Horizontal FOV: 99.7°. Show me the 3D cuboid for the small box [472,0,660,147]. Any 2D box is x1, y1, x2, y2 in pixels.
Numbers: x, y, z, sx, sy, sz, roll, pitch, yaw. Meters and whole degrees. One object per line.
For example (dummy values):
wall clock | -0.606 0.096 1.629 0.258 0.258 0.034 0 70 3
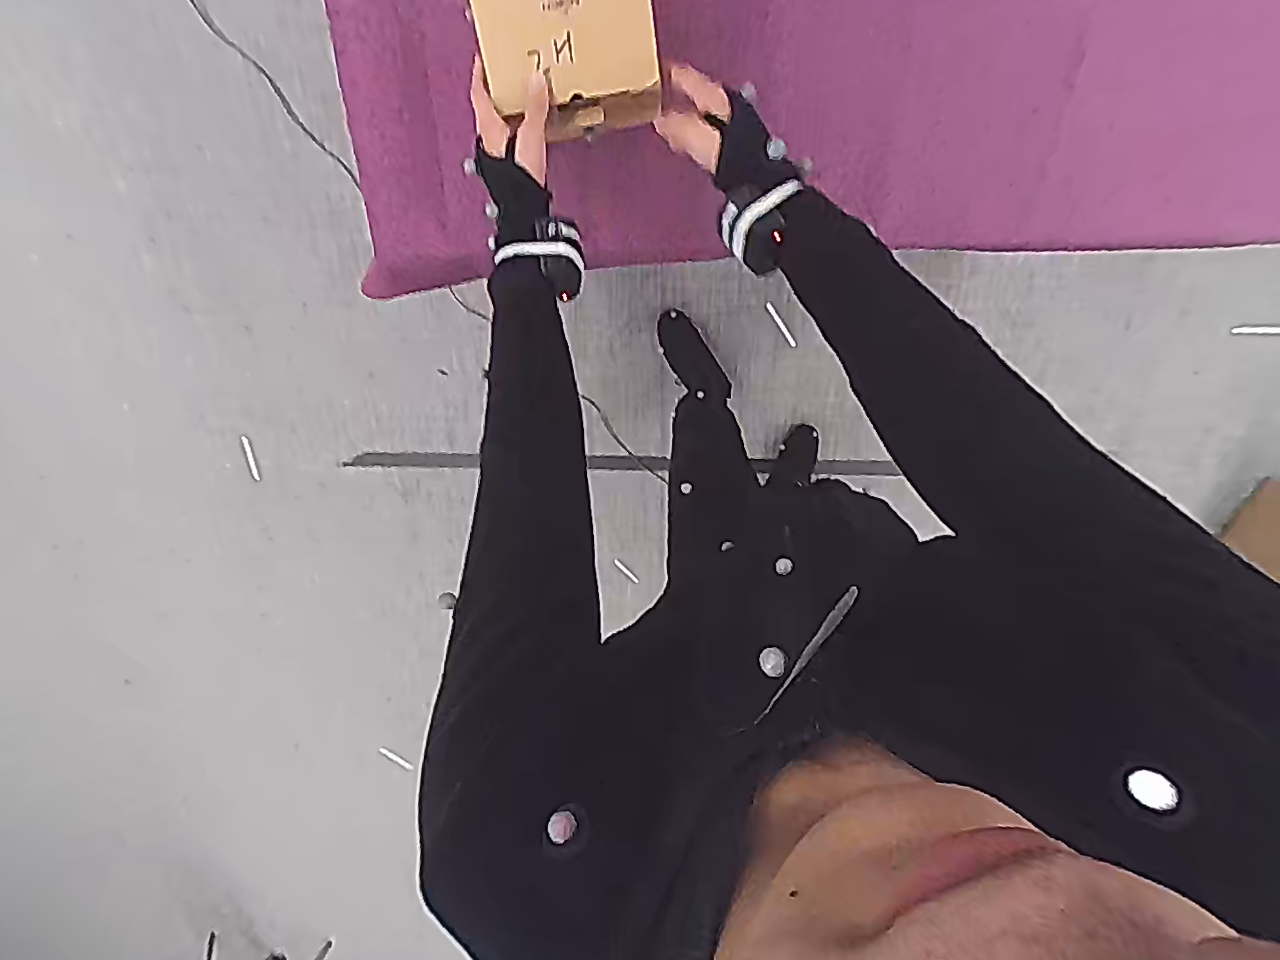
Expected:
small box | -0.072 -0.475 0.568 0.168 0.176 0.179 -7 113 5
